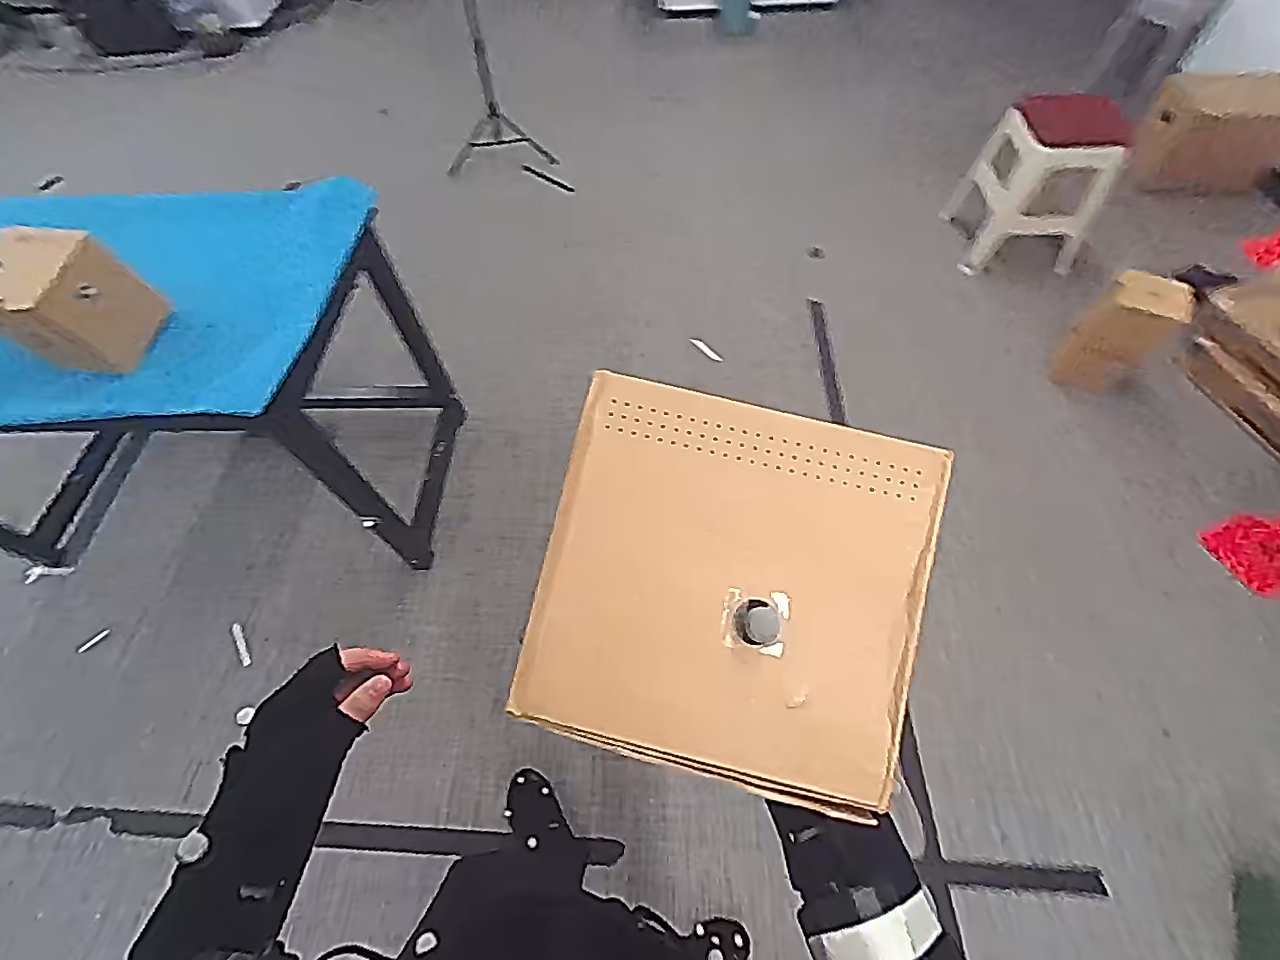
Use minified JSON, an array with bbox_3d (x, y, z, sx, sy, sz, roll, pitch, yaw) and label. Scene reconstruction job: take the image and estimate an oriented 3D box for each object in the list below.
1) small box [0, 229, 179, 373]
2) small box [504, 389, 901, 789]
[{"bbox_3d":[-0.987,-0.314,0.954,0.168,0.179,0.176,7,67,6],"label":"small box"},{"bbox_3d":[0.036,0.053,0.337,0.179,0.168,0.176,12,83,2],"label":"small box"}]
